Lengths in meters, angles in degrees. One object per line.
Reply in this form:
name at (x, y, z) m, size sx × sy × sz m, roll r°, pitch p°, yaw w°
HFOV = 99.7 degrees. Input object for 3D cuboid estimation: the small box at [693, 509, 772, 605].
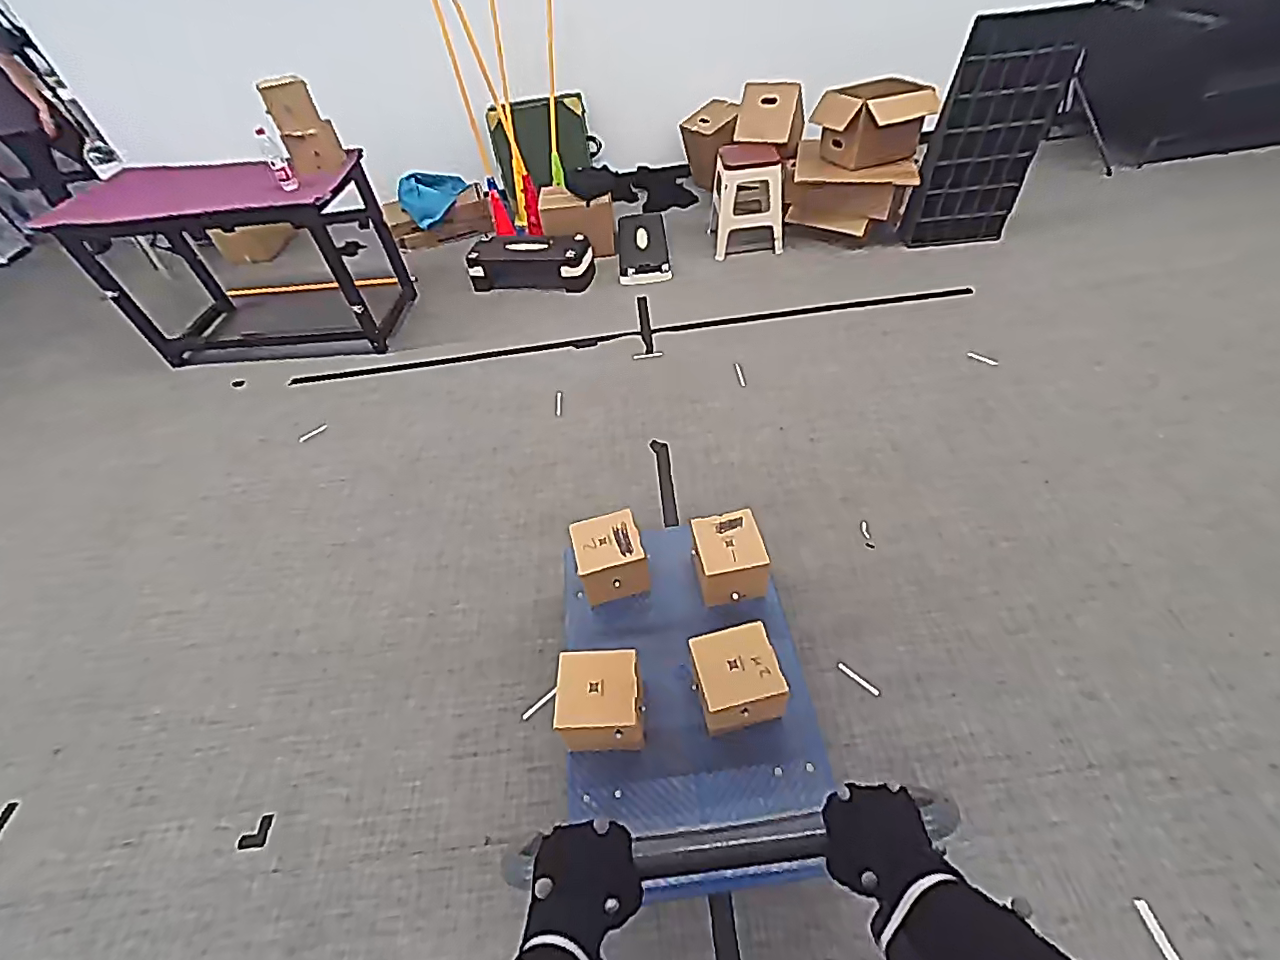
small box at (0.237, 0.205, 1.435) m, size 0.168 × 0.176 × 0.179 m, roll -11°, pitch 50°, yaw -2°

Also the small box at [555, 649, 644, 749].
small box at (-0.084, 0.499, 1.226) m, size 0.179 × 0.176 × 0.168 m, roll -3°, pitch 49°, yaw 3°

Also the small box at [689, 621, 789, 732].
small box at (0.220, 0.450, 1.227) m, size 0.179 × 0.176 × 0.168 m, roll -13°, pitch 49°, yaw -4°
